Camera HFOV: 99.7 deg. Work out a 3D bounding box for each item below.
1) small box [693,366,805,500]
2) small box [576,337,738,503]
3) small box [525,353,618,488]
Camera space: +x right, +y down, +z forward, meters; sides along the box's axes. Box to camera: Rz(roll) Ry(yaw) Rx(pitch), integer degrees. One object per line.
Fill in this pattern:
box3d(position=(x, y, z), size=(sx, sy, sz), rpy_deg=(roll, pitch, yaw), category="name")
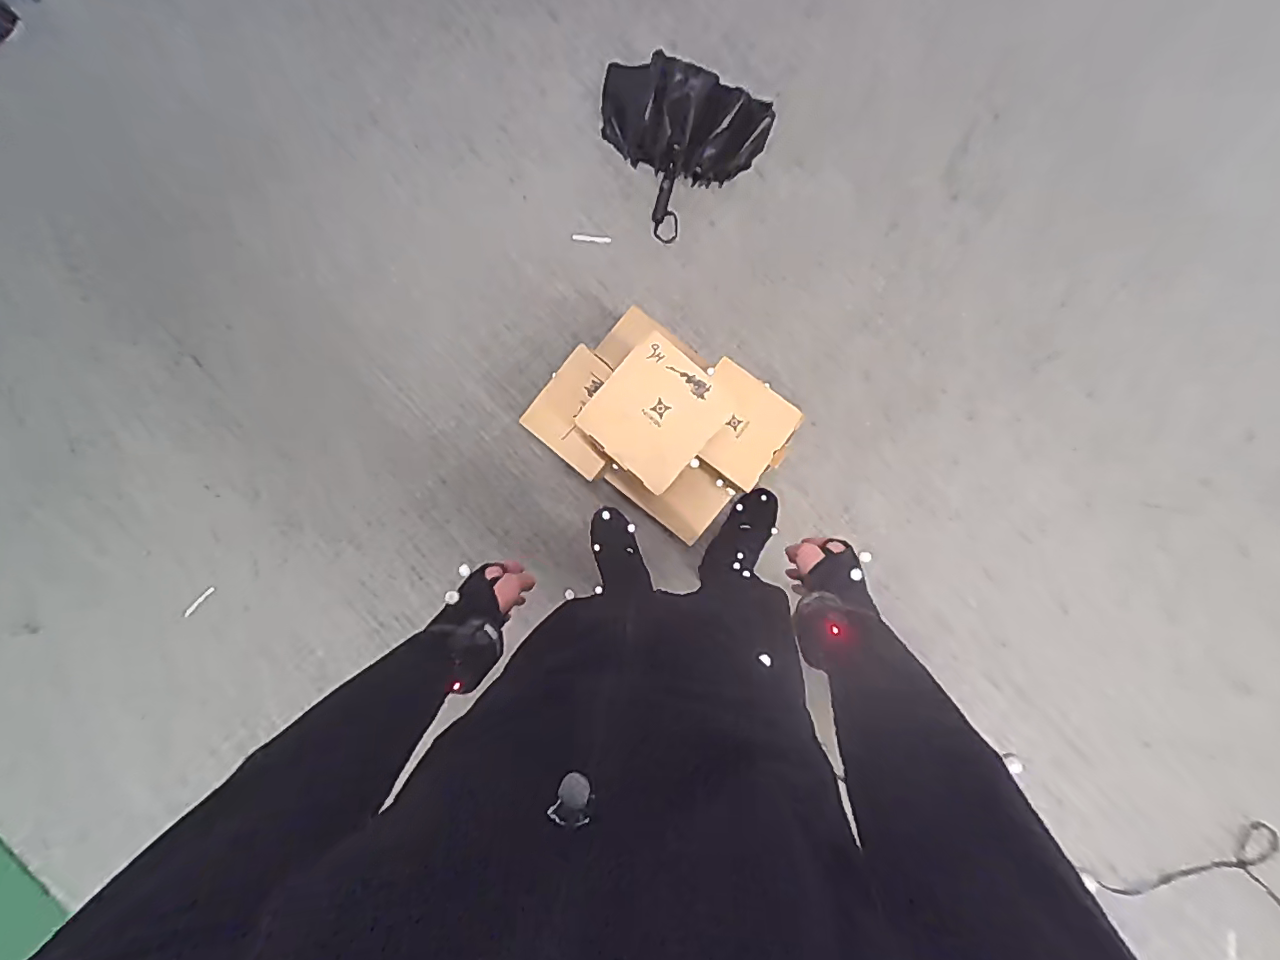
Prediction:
box3d(position=(0.168, -0.080, 0.996), size=(0.179, 0.176, 0.168), rpy_deg=(36, 89, 4), category="small box")
box3d(position=(0.031, -0.085, 0.836), size=(0.168, 0.176, 0.179), rpy_deg=(41, 95, 2), category="small box")
box3d(position=(-0.081, -0.106, 1.008), size=(0.168, 0.176, 0.179), rpy_deg=(40, 95, 2), category="small box")
